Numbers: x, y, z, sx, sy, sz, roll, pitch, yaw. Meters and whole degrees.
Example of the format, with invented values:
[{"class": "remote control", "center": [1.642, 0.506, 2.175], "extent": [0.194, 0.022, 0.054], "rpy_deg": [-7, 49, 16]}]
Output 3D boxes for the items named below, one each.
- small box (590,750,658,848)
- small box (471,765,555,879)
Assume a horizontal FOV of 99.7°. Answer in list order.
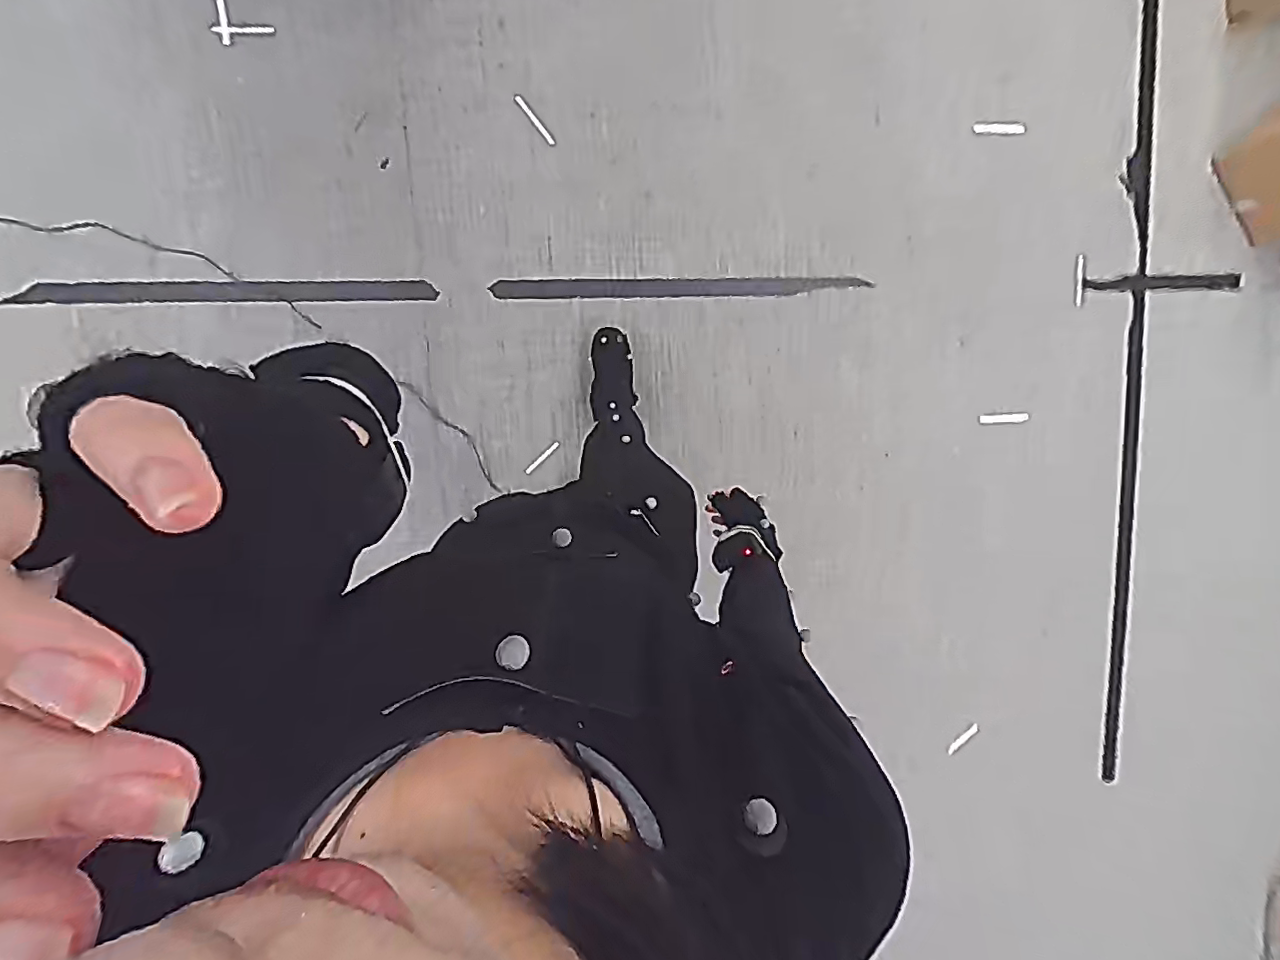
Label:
[{"class": "small box", "center": [-0.049, 0.887, 1.516], "extent": [0.179, 0.176, 0.168], "rpy_deg": [-4, 97, -5]}, {"class": "small box", "center": [-0.341, 0.934, 1.491], "extent": [0.168, 0.176, 0.179], "rpy_deg": [-22, 97, -4]}]
